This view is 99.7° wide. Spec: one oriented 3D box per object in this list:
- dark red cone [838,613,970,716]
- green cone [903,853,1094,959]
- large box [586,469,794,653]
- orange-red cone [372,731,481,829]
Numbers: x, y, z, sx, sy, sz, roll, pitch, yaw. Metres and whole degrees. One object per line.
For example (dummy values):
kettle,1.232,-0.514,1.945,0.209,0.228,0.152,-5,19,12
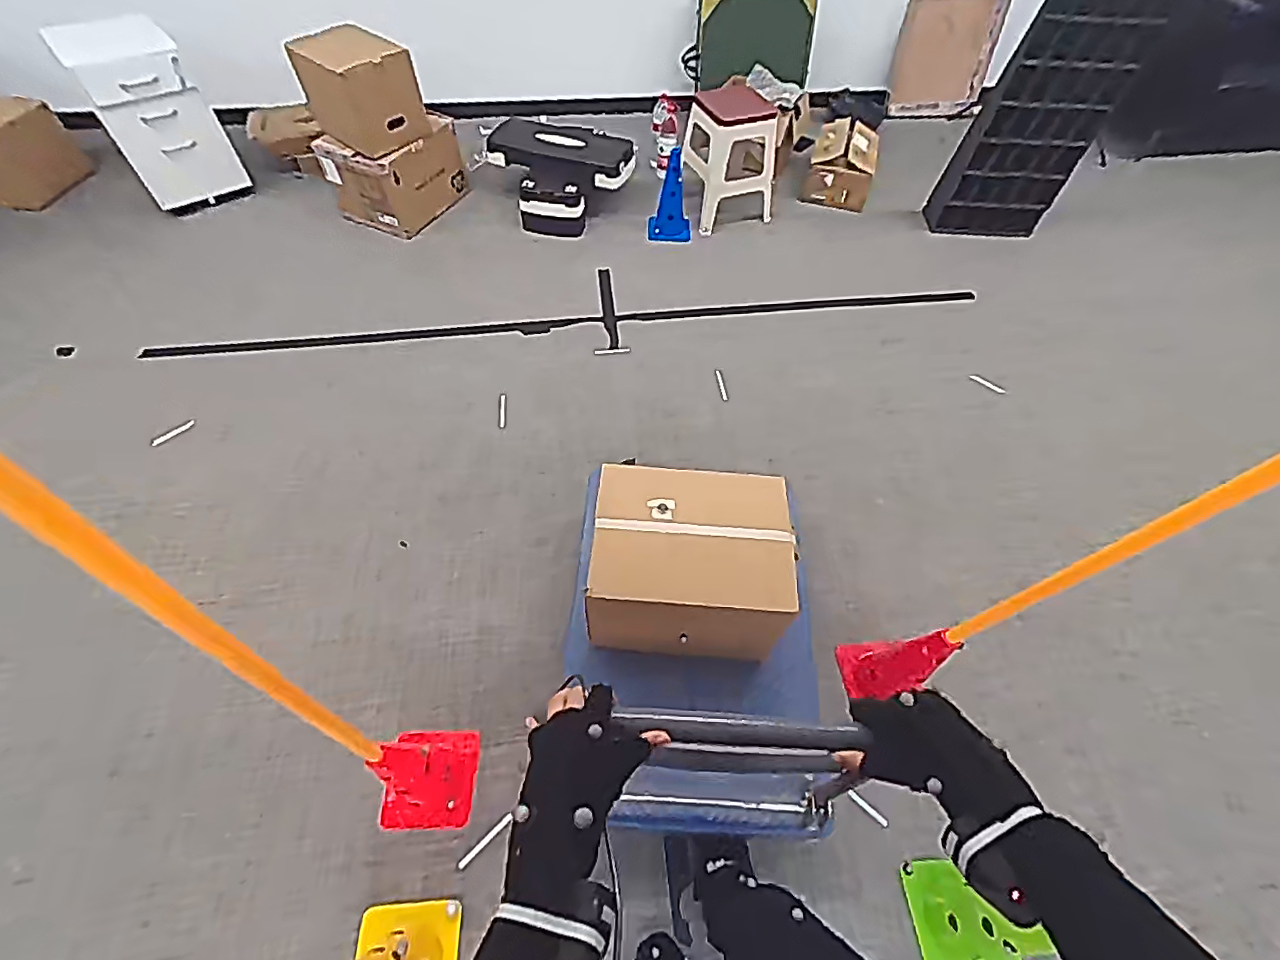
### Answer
dark red cone,0.638,0.402,1.254,0.201,0.394,0.202,-4,56,-7
green cone,0.680,0.810,0.993,0.202,0.368,0.200,-1,55,-4
large box,0.101,0.192,1.229,0.408,0.320,0.320,3,55,1
orange-red cone,-0.472,0.589,1.114,0.198,0.360,0.199,2,54,-2
